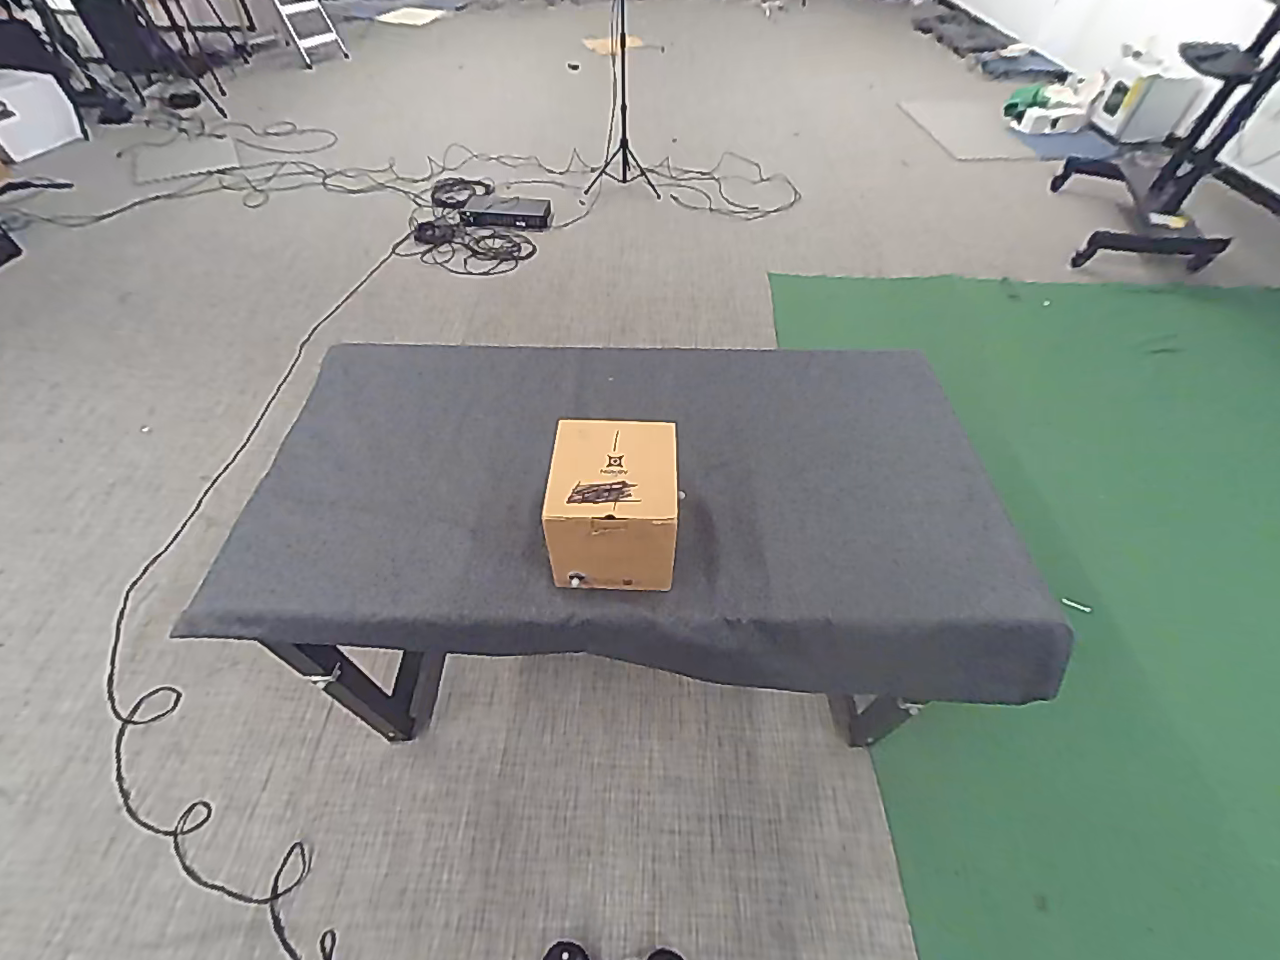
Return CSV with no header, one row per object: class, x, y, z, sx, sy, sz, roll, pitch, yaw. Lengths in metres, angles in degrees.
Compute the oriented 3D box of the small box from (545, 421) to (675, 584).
small box,-0.035,0.035,0.784,0.168,0.176,0.179,2,48,1
